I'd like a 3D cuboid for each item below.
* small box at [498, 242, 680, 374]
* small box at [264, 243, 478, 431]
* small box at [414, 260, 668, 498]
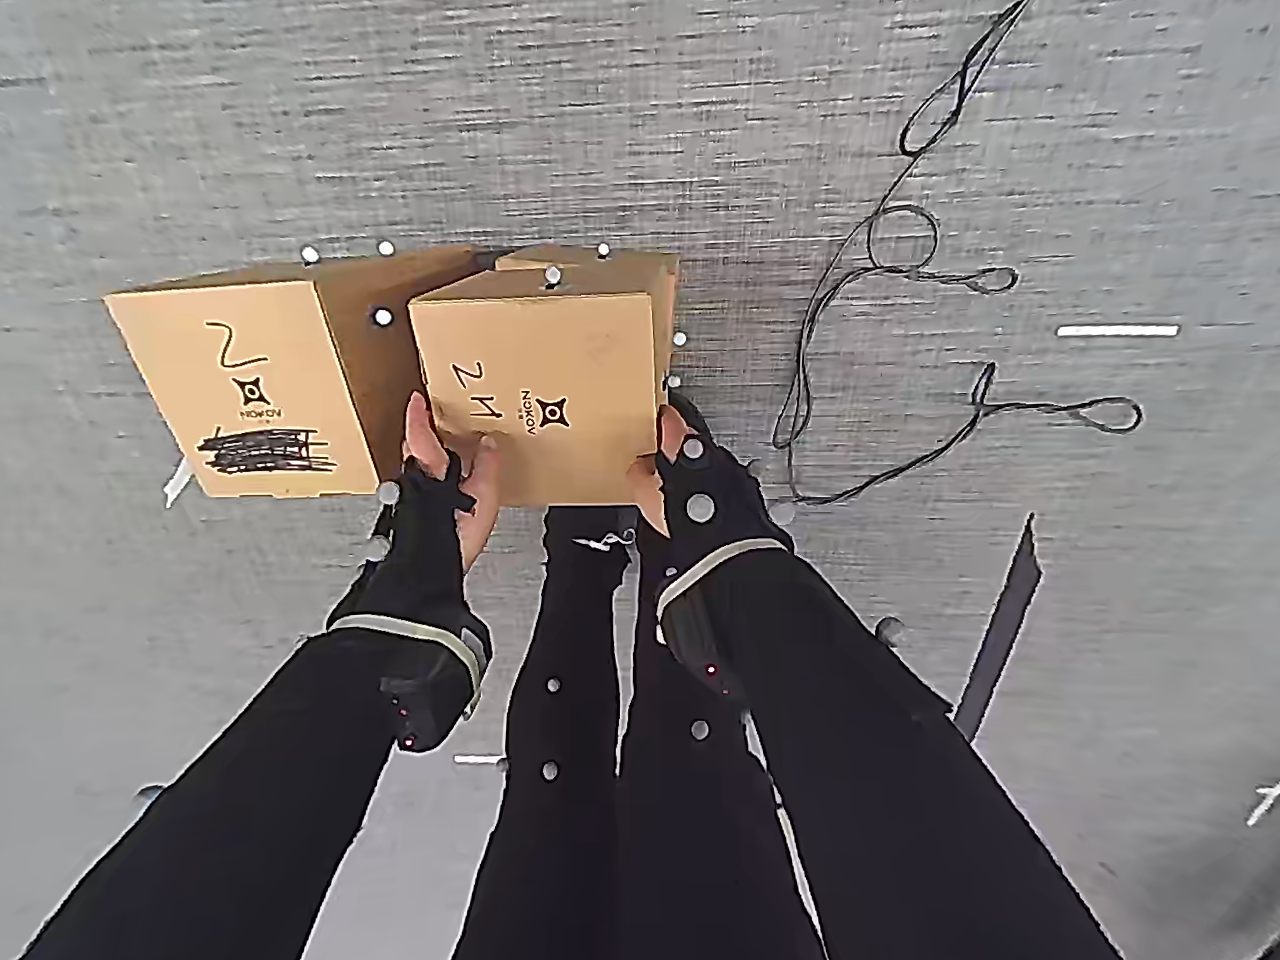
[{"bbox_3d":[-0.050,-0.174,0.621,0.179,0.176,0.168,5,118,1],"label":"small box"},{"bbox_3d":[-0.283,-0.177,0.642,0.168,0.176,0.179,-6,118,7],"label":"small box"},{"bbox_3d":[-0.064,-0.096,0.476,0.179,0.176,0.168,0,117,6],"label":"small box"}]
